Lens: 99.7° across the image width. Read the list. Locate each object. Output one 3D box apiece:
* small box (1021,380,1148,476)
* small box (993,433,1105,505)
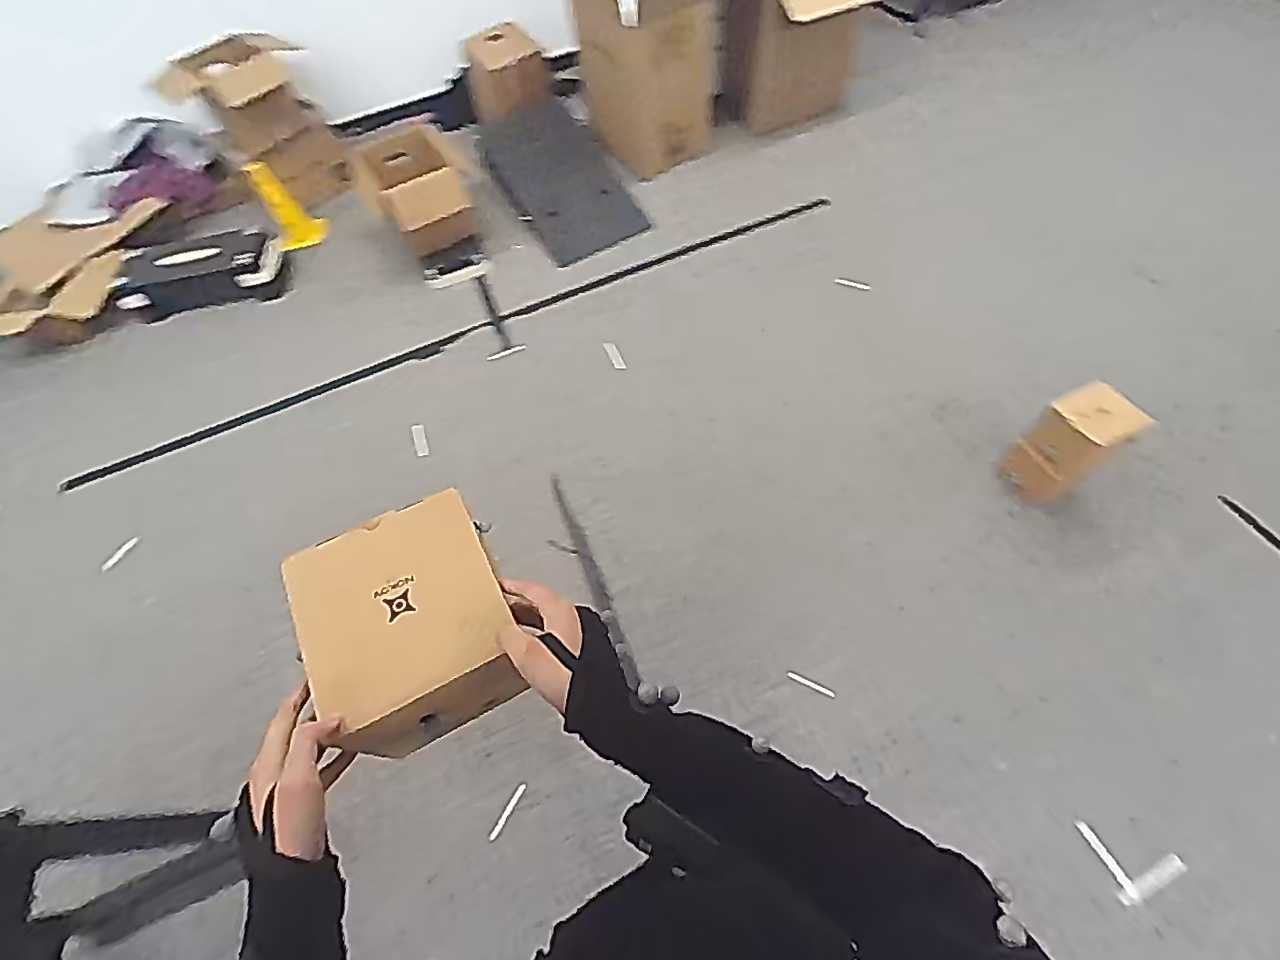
[{"bbox_3d":[1.215,-0.140,1.496,0.179,0.176,0.168,-23,59,-7],"label":"small box"},{"bbox_3d":[1.223,-0.053,1.635,0.179,0.176,0.168,-23,59,-7],"label":"small box"}]
